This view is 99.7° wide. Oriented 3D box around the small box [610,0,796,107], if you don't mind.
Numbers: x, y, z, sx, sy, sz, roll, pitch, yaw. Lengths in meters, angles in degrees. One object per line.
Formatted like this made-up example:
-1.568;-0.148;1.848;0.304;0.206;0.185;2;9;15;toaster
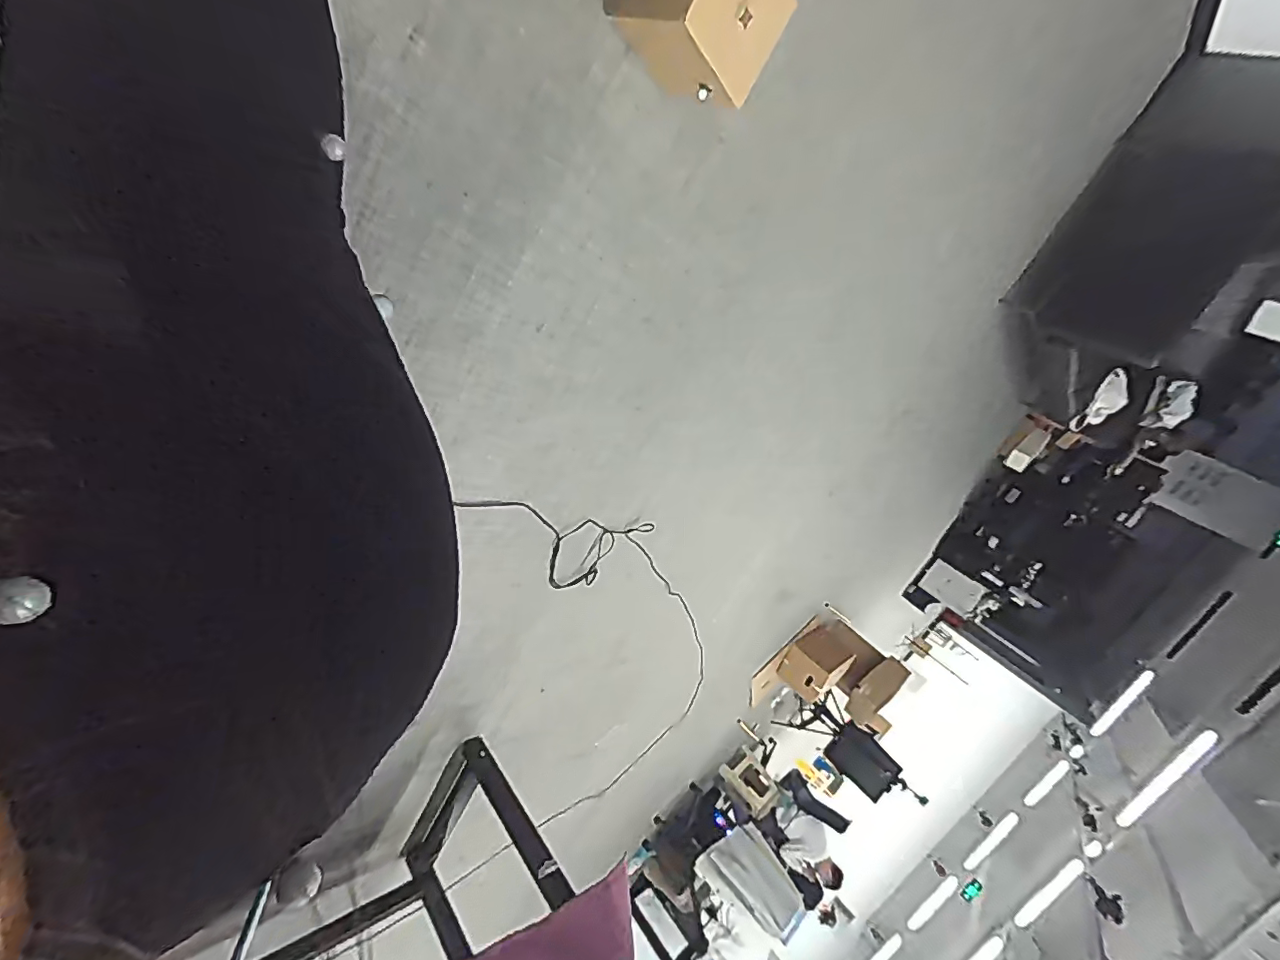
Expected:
0.092;-0.700;0.798;0.179;0.176;0.168;14;111;-53;small box
